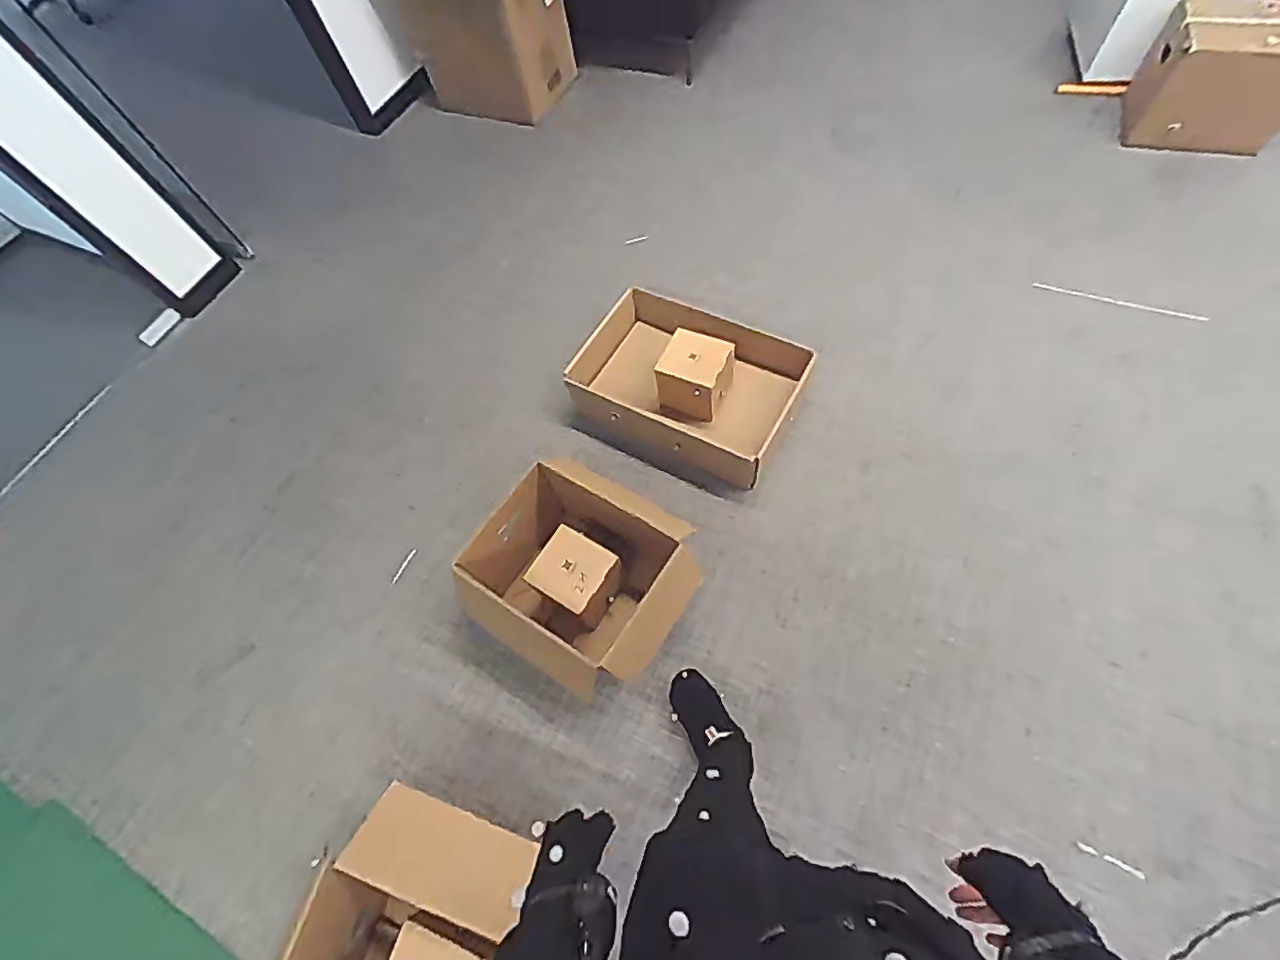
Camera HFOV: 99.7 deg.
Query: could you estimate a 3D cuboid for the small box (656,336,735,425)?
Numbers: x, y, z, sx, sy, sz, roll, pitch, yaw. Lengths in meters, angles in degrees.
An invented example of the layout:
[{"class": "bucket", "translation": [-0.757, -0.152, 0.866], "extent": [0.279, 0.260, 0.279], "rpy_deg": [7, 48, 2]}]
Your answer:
[{"class": "small box", "translation": [0.164, -0.284, 1.572], "extent": [0.179, 0.176, 0.168], "rpy_deg": [21, 67, 17]}]
